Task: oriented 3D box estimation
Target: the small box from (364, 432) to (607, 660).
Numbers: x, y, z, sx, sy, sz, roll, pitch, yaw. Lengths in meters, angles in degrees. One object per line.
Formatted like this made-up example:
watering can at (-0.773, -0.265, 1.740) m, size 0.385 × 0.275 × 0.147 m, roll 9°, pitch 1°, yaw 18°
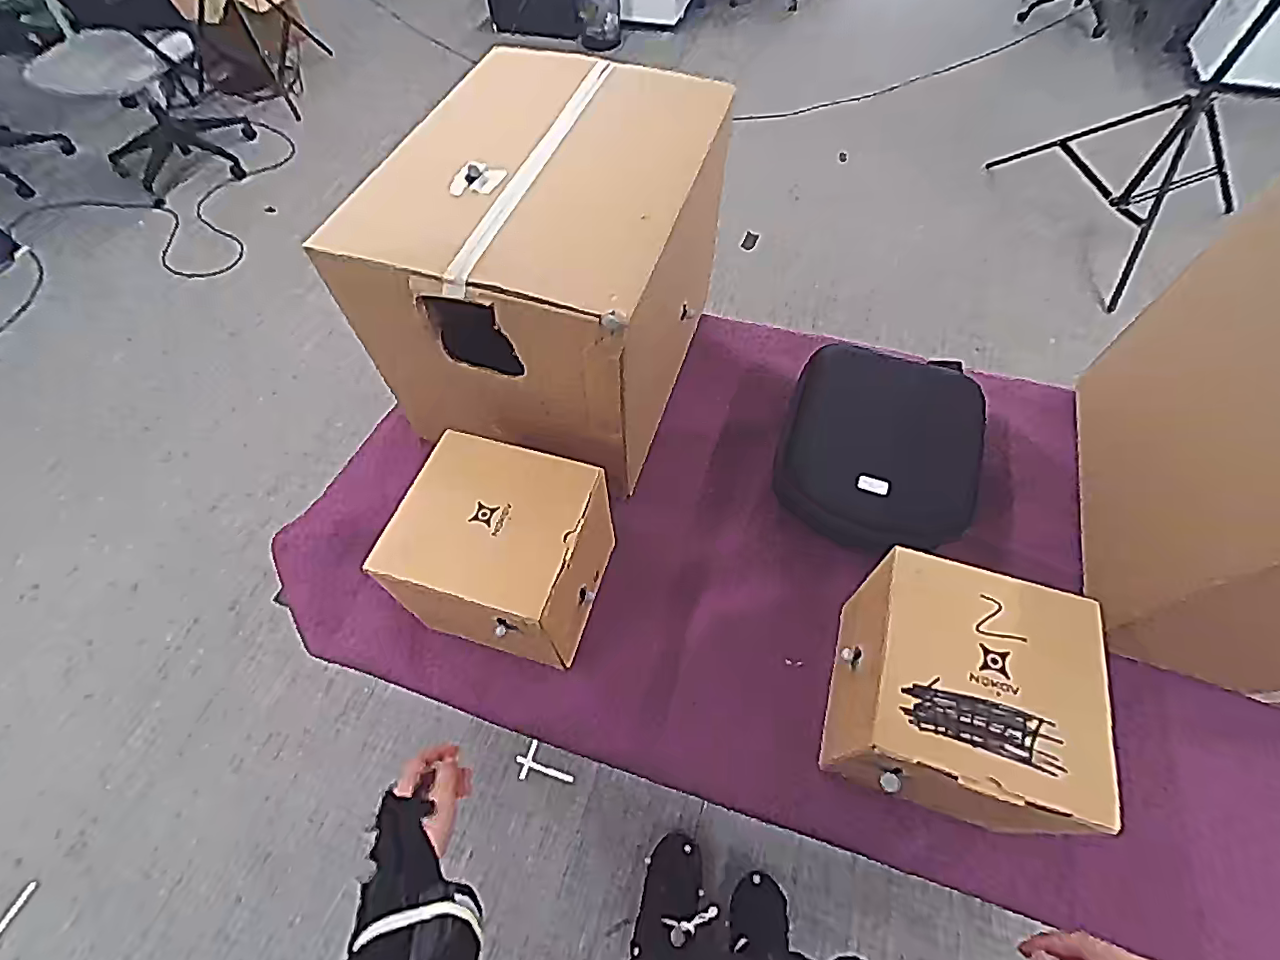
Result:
small box at (-0.144, 0.077, 0.581) m, size 0.179 × 0.176 × 0.168 m, roll 14°, pitch 59°, yaw 9°

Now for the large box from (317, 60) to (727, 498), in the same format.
large box at (-0.098, -0.248, 0.695) m, size 0.320 × 0.320 × 0.408 m, roll 15°, pitch 62°, yaw 9°
